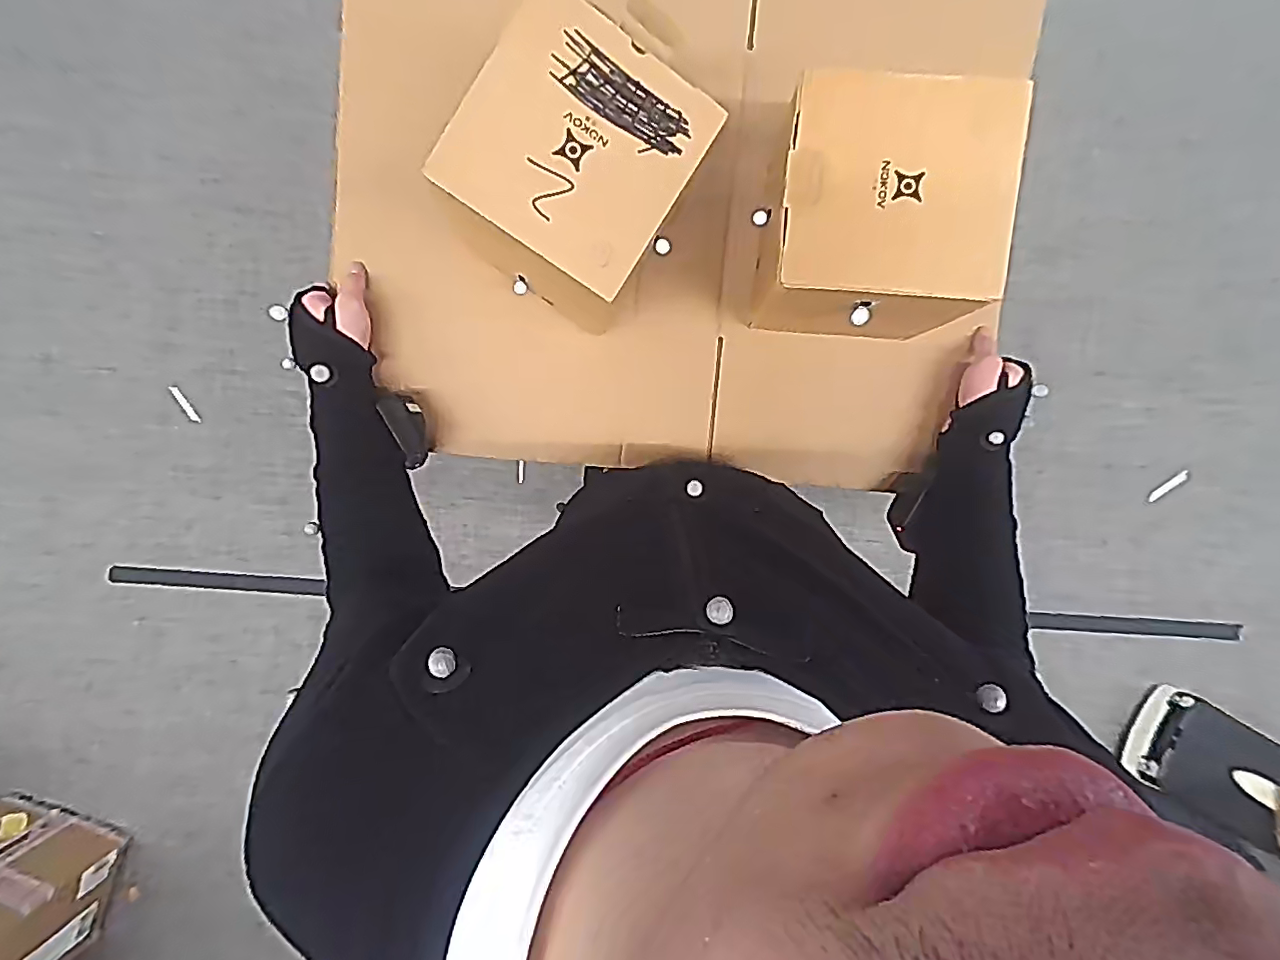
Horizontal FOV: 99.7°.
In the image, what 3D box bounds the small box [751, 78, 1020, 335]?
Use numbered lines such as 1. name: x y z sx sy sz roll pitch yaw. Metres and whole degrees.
1. small box: 0.212 -0.240 0.516 0.179 0.176 0.168 5 94 4
